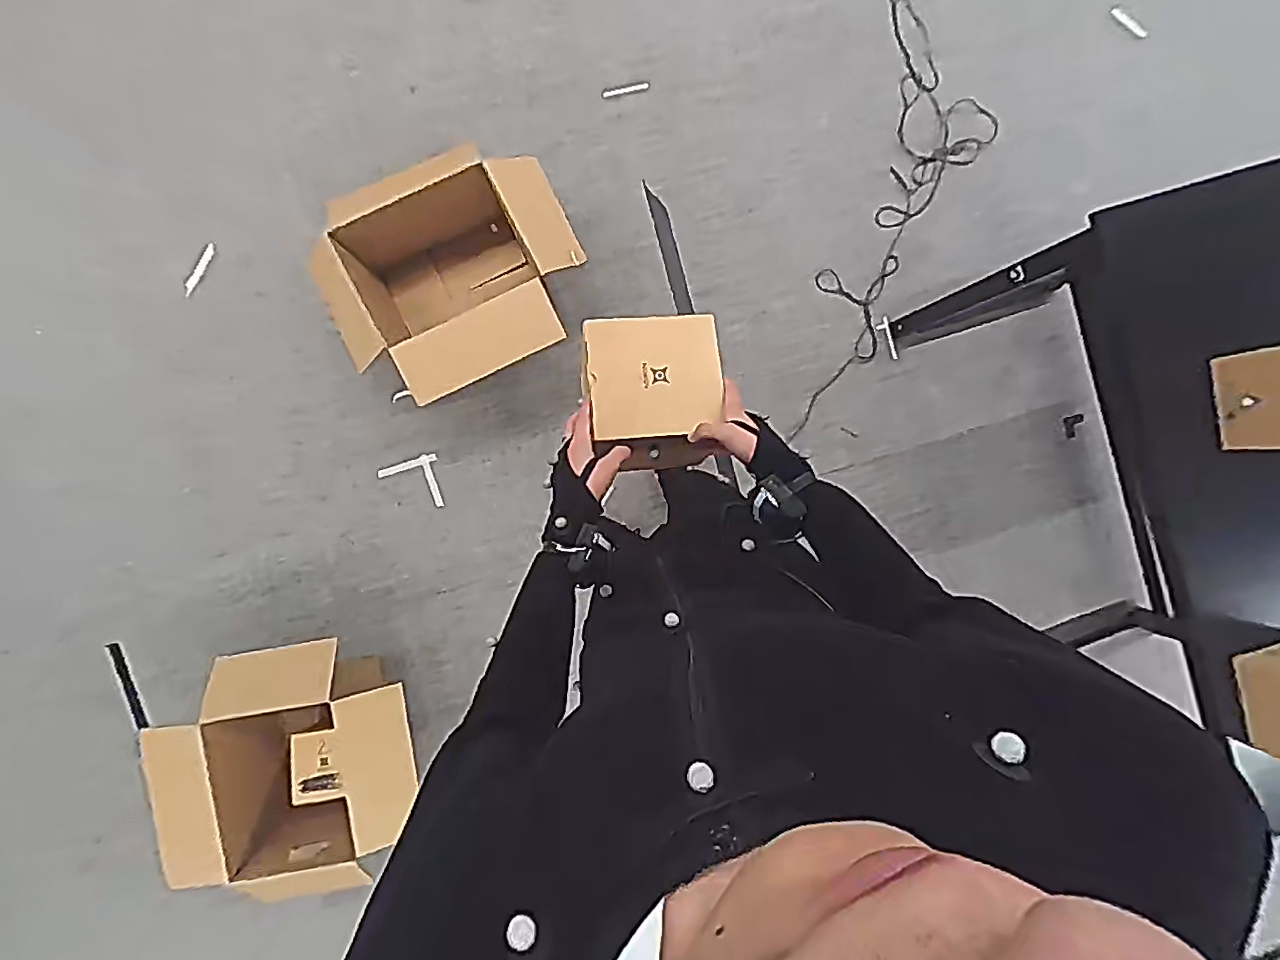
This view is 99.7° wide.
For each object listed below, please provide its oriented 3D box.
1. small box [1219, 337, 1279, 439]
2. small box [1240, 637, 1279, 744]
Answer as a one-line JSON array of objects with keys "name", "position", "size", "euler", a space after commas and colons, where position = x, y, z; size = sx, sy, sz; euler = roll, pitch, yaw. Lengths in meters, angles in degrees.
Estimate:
[{"name": "small box", "position": [1.129, -0.164, 0.889], "size": [0.179, 0.176, 0.168], "euler": [-11, 93, -3]}, {"name": "small box", "position": [1.194, 0.375, 0.913], "size": [0.168, 0.176, 0.179], "euler": [-15, 92, -4]}]
